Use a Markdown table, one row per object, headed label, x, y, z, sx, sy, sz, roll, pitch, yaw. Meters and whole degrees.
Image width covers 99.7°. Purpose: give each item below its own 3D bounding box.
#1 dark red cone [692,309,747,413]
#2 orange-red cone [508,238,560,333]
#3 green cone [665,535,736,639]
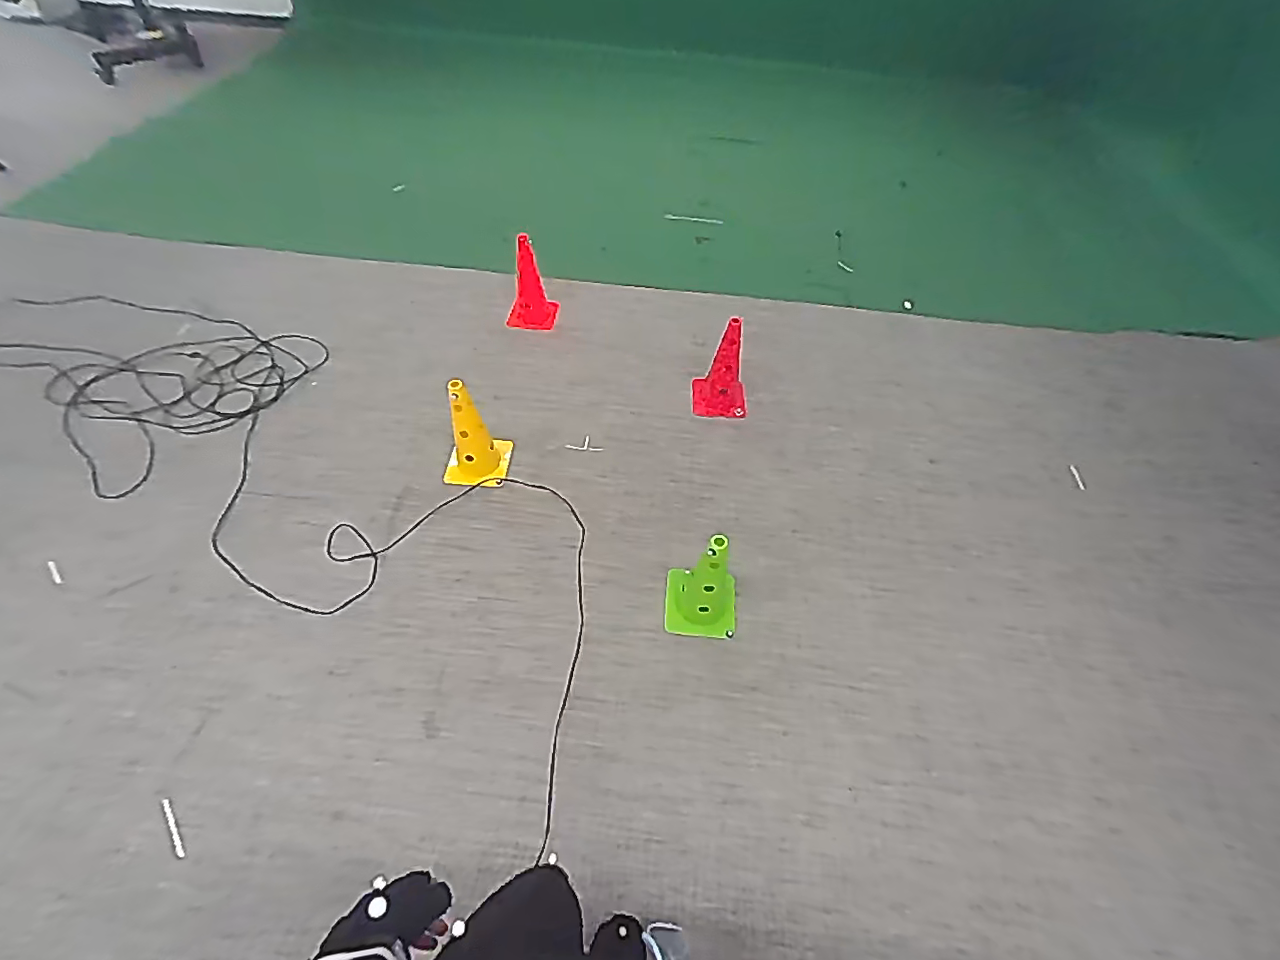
| label | x | y | z | sx | sy | sz | roll | pitch | yaw |
| --- | --- | --- | --- | --- | --- | --- | --- | --- | --- |
| dark red cone | 0.305 | -0.427 | 1.917 | 0.202 | 0.394 | 0.201 | 2 | 51 | -1 |
| orange-red cone | -0.453 | -0.806 | 2.197 | 0.198 | 0.360 | 0.199 | 6 | 54 | 3 |
| green cone | 0.180 | 0.253 | 1.426 | 0.202 | 0.368 | 0.200 | 4 | 52 | 2 |
